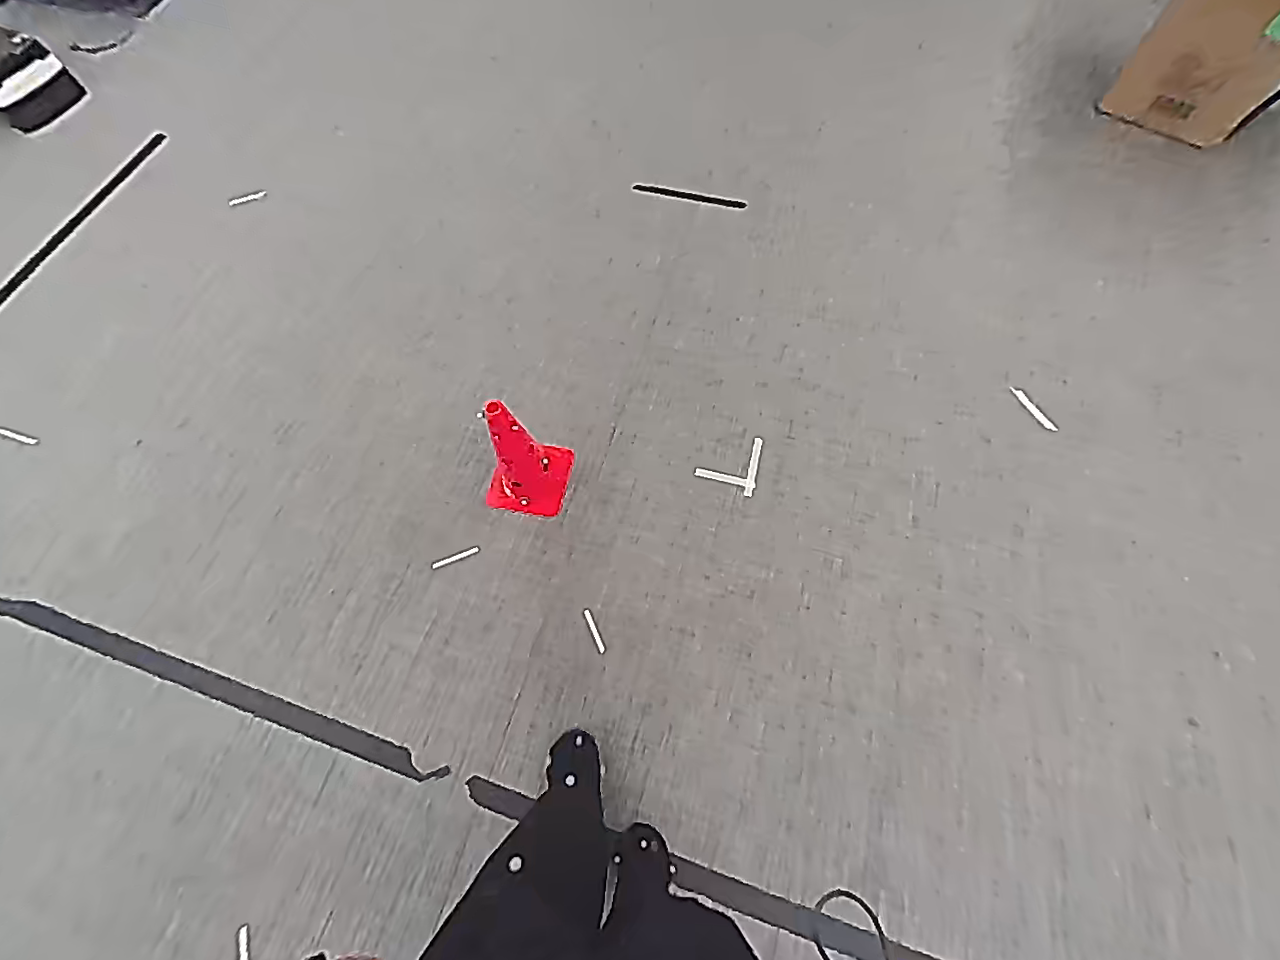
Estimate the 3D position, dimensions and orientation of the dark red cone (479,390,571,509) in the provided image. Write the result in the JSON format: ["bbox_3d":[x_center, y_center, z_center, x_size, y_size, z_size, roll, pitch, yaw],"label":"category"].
[{"bbox_3d":[-0.294,-0.090,1.242,0.202,0.394,0.201,9,68,6],"label":"dark red cone"}]
